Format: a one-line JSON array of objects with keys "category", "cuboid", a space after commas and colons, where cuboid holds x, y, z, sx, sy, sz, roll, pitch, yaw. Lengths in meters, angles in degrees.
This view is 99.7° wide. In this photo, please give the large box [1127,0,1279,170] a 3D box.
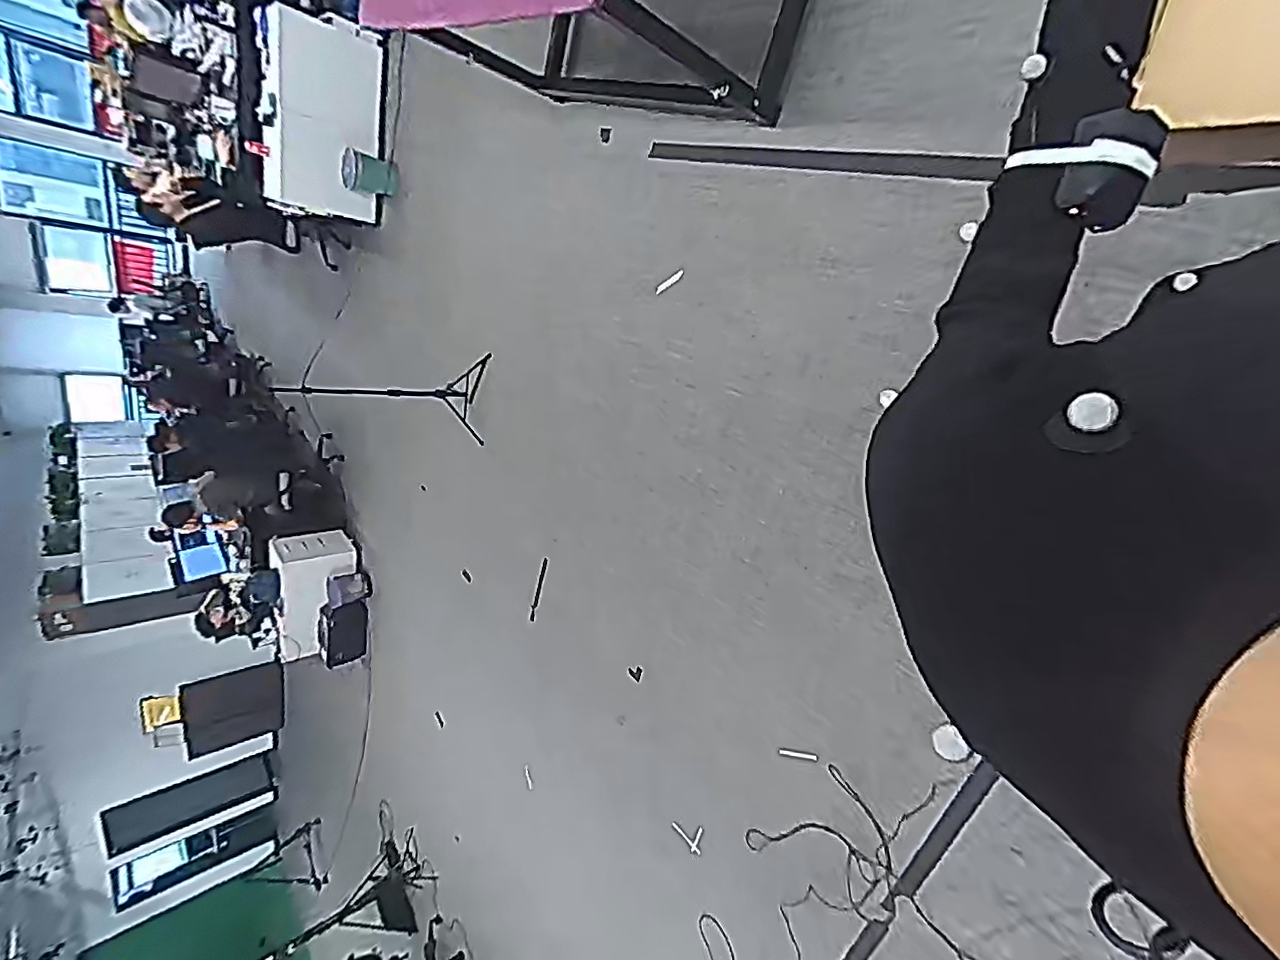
[{"category": "large box", "cuboid": [0.607, -0.385, 0.322, 0.408, 0.320, 0.320, 22, 124, 38]}]
